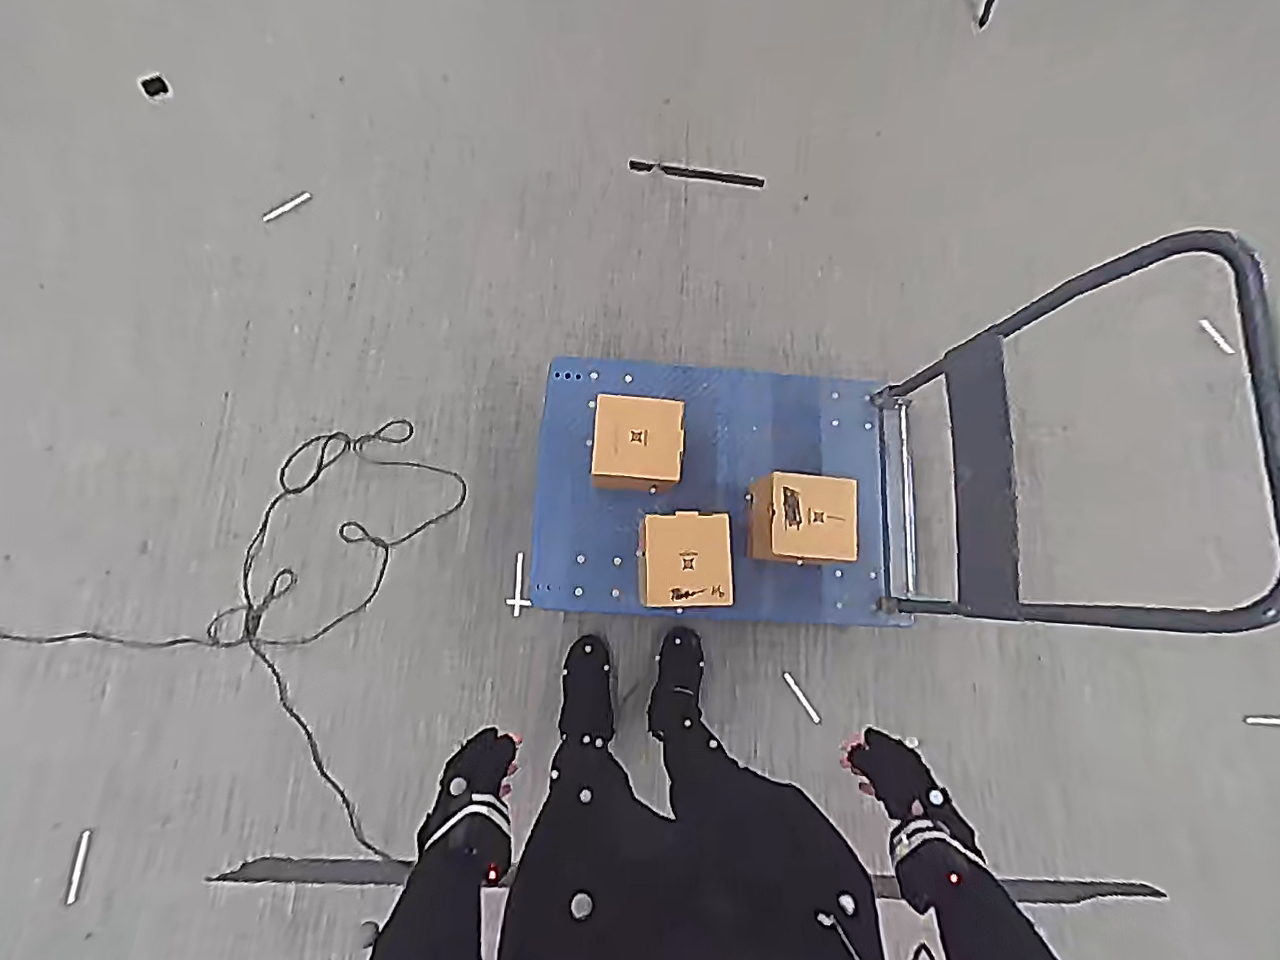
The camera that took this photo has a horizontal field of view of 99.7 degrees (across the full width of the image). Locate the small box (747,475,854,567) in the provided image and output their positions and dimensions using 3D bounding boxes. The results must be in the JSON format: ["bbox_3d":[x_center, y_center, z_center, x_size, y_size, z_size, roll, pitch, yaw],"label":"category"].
[{"bbox_3d":[0.333,0.093,1.148,0.179,0.176,0.168,6,79,-5],"label":"small box"}]

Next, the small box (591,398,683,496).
[{"bbox_3d":[-0.011,-0.063,1.149,0.179,0.176,0.168,4,78,-4],"label":"small box"}]

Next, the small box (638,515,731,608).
[{"bbox_3d":[0.083,0.172,1.112,0.168,0.176,0.179,0,78,-5],"label":"small box"}]
